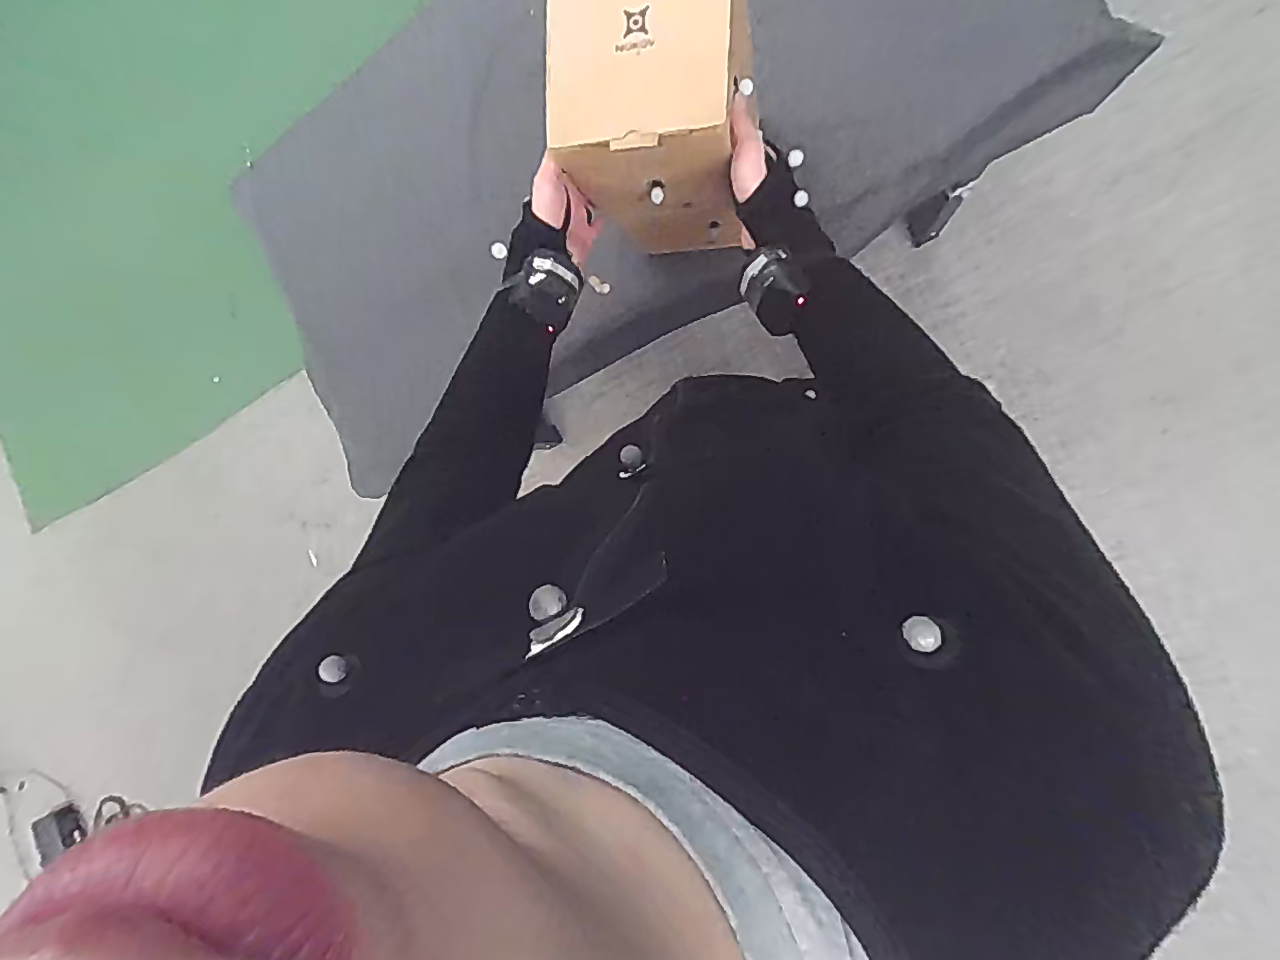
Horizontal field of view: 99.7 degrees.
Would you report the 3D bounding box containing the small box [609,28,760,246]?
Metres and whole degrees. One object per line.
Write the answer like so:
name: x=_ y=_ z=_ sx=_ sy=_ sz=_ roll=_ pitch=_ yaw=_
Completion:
small box: x=0.065 y=-0.414 z=0.692 sx=0.168 sy=0.176 sz=0.179 roll=1 pitch=94 yaw=15
